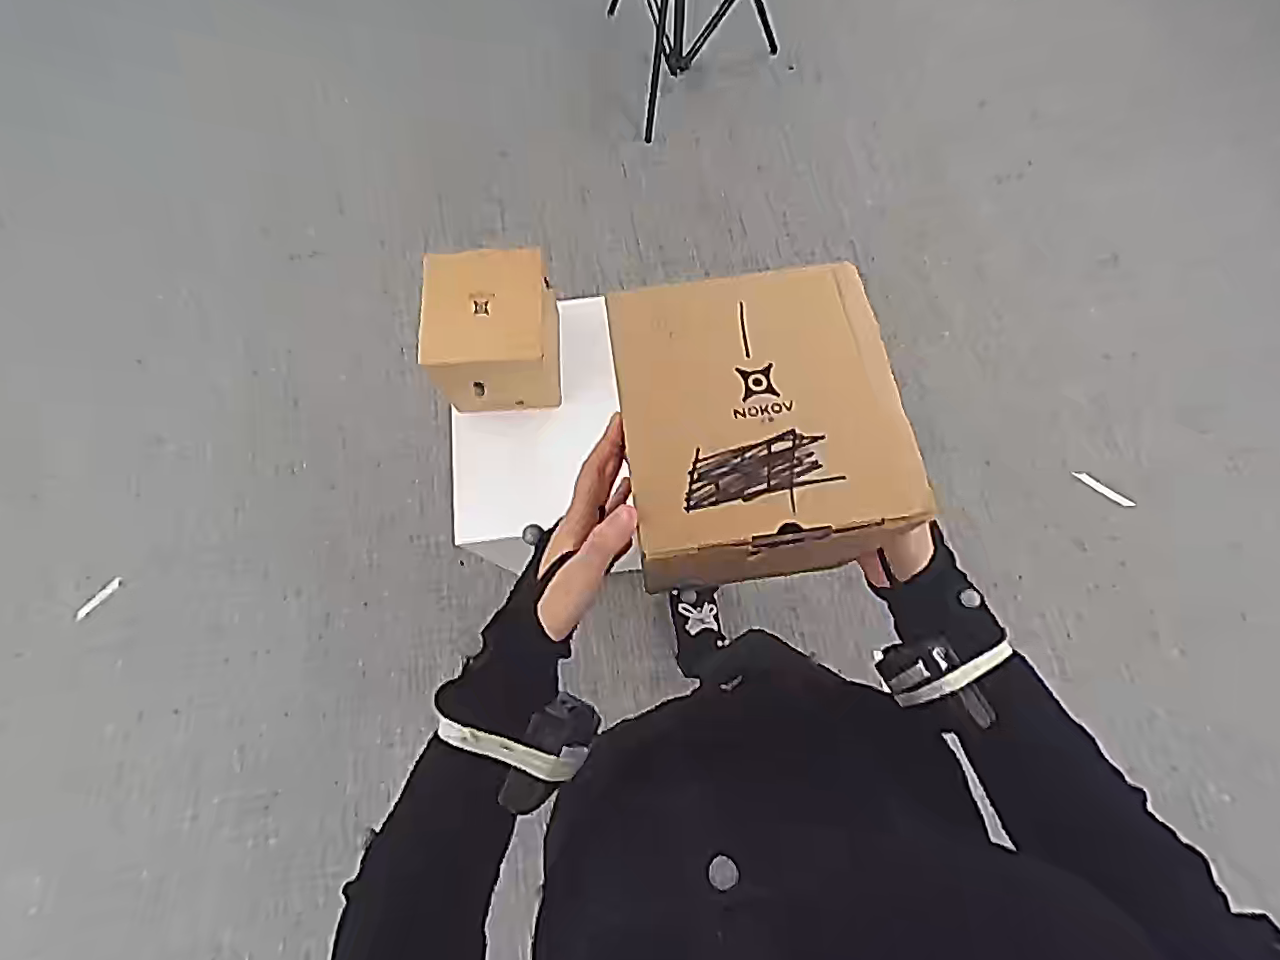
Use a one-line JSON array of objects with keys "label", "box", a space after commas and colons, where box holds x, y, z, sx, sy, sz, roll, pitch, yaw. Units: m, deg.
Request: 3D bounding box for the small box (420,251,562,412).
[{"label": "small box", "box": [-0.211, -0.209, 0.807, 0.168, 0.176, 0.179, -4, 74, 0]}]
